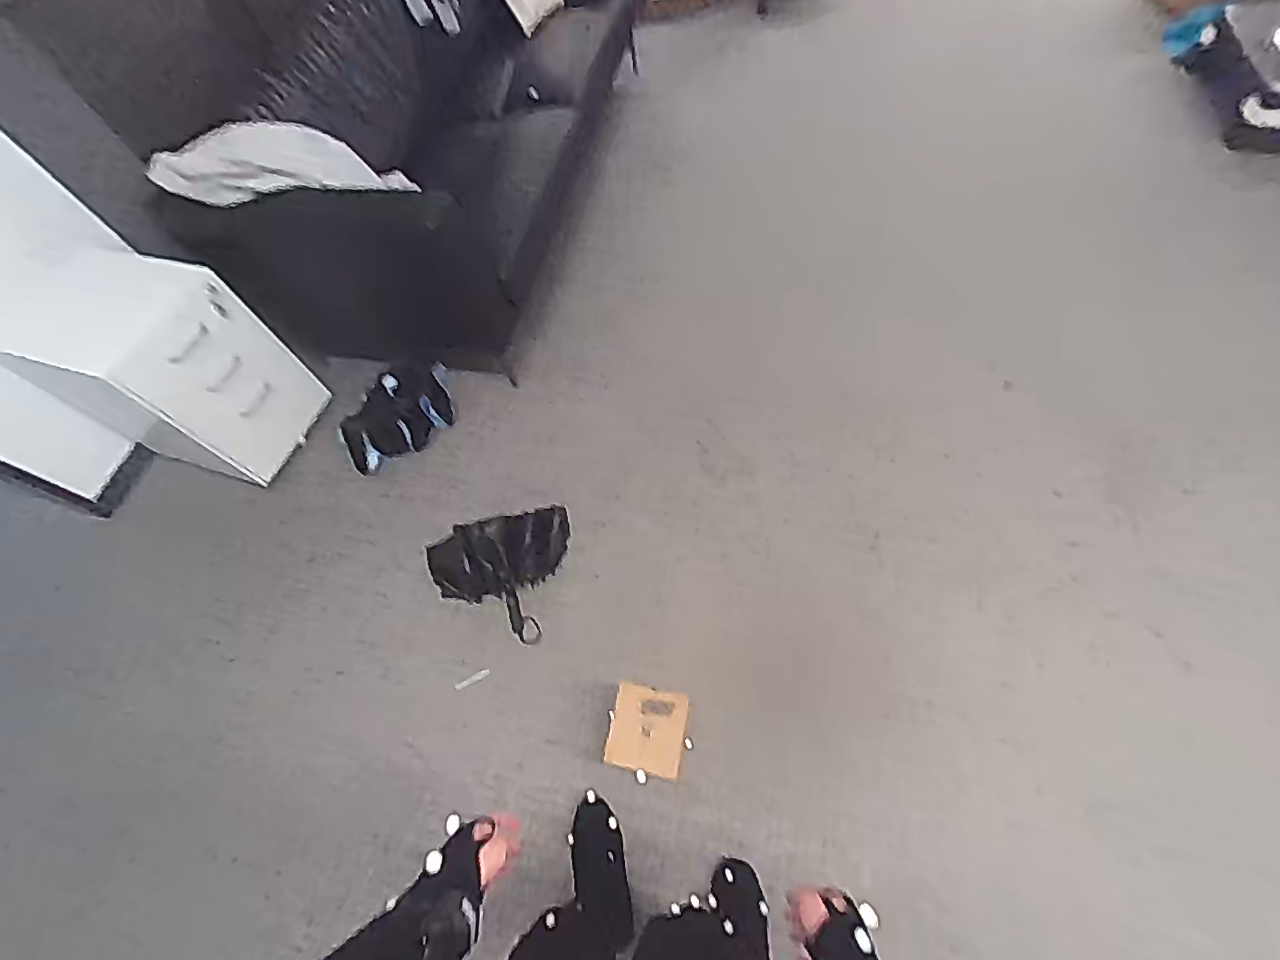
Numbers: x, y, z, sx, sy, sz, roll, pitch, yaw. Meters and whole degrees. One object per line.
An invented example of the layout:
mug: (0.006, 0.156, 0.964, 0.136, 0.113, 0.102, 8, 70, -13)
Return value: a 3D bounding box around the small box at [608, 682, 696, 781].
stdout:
small box: (0.037, 0.596, 1.279, 0.168, 0.176, 0.179, 7, 63, 13)
